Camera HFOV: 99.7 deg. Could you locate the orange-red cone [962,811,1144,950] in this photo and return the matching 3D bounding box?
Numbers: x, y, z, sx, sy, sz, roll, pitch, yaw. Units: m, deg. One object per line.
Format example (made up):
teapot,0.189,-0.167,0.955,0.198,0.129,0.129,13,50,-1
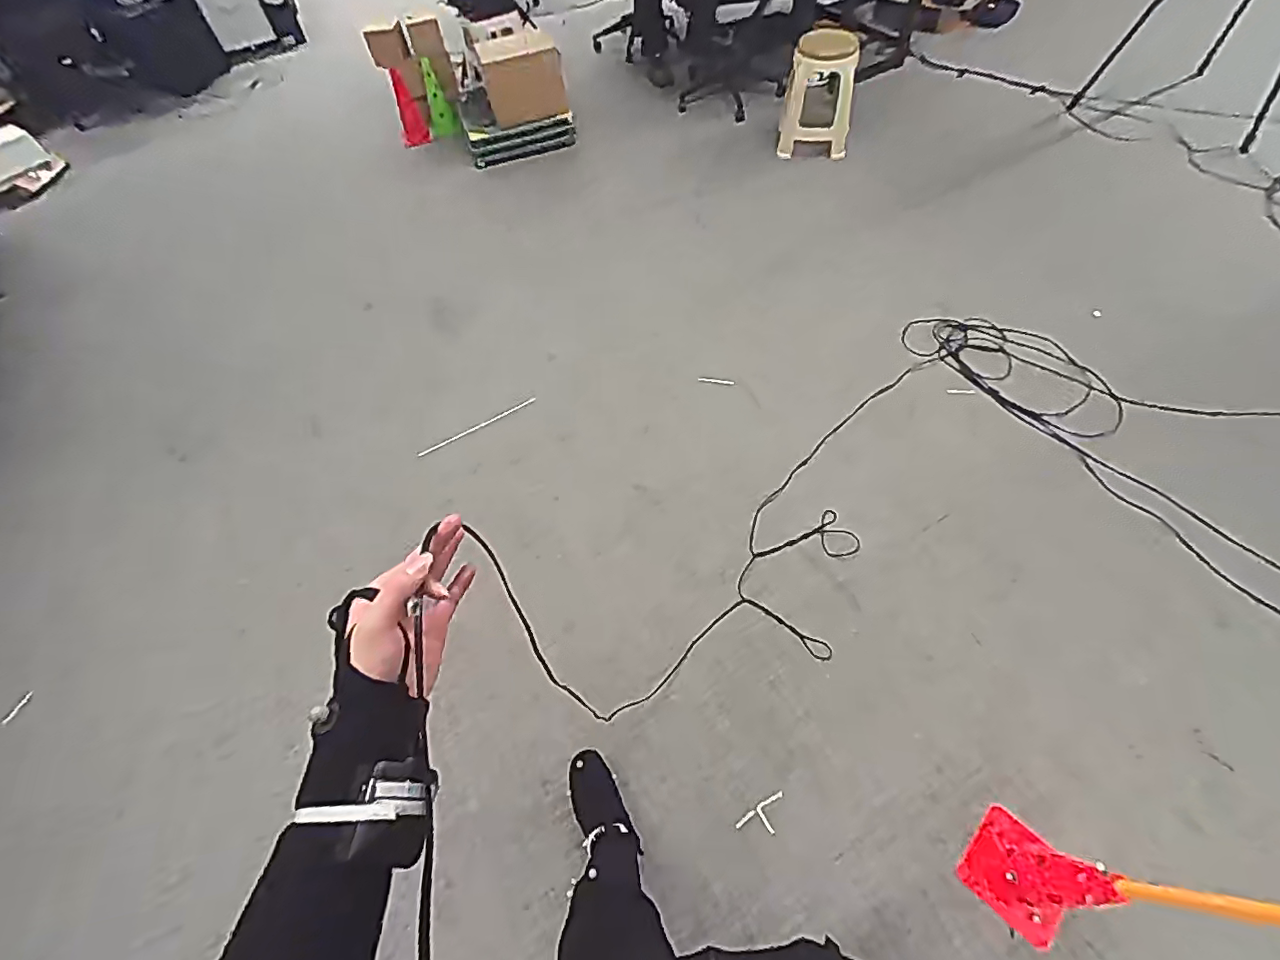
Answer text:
orange-red cone,0.837,0.787,1.058,0.198,0.360,0.199,39,67,25
